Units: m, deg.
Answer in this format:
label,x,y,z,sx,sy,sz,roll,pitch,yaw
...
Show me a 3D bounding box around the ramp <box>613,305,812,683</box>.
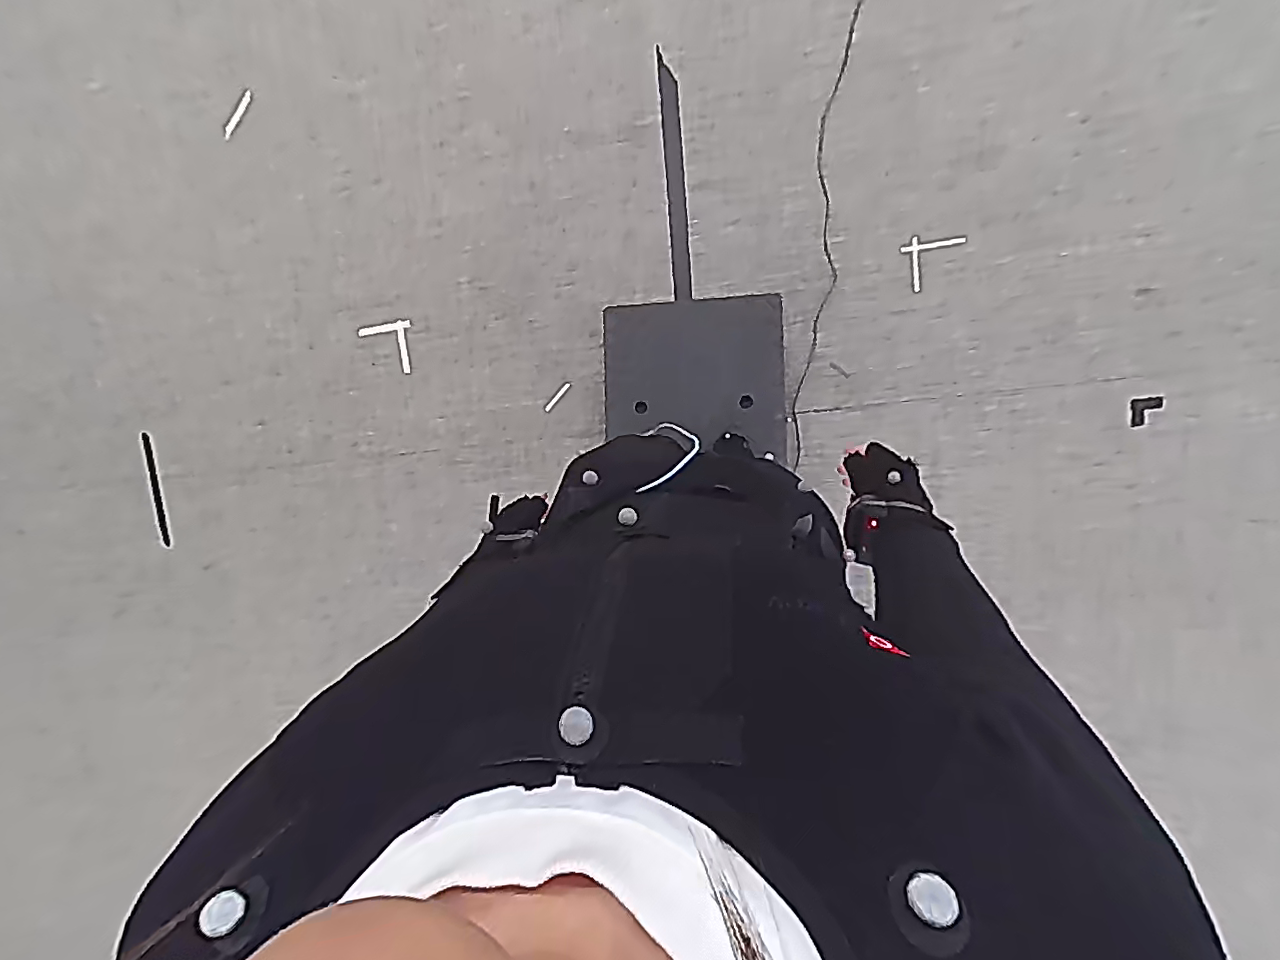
label,x,y,z,sx,sy,sz,roll,pitch,yaw
ramp,0.176,0.032,1.463,0.509,0.206,0.991,-5,94,11
